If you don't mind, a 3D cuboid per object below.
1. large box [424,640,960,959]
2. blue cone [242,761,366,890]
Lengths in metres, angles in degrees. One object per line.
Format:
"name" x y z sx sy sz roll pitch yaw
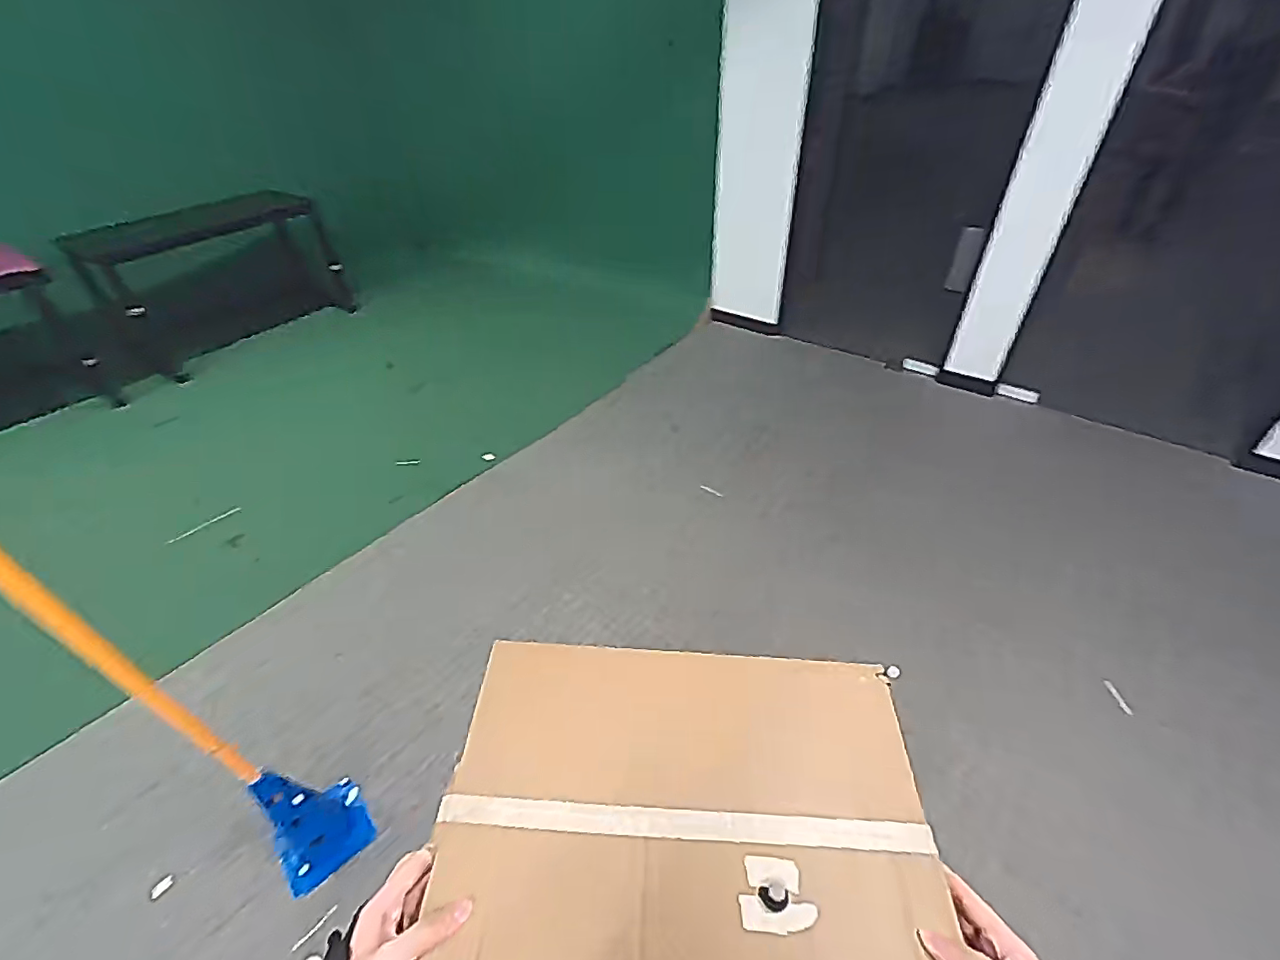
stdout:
"large box" 0.039 0.395 0.566 0.408 0.320 0.320 4 44 1
"blue cone" -0.804 0.756 1.246 0.193 0.380 0.192 -30 47 -29
